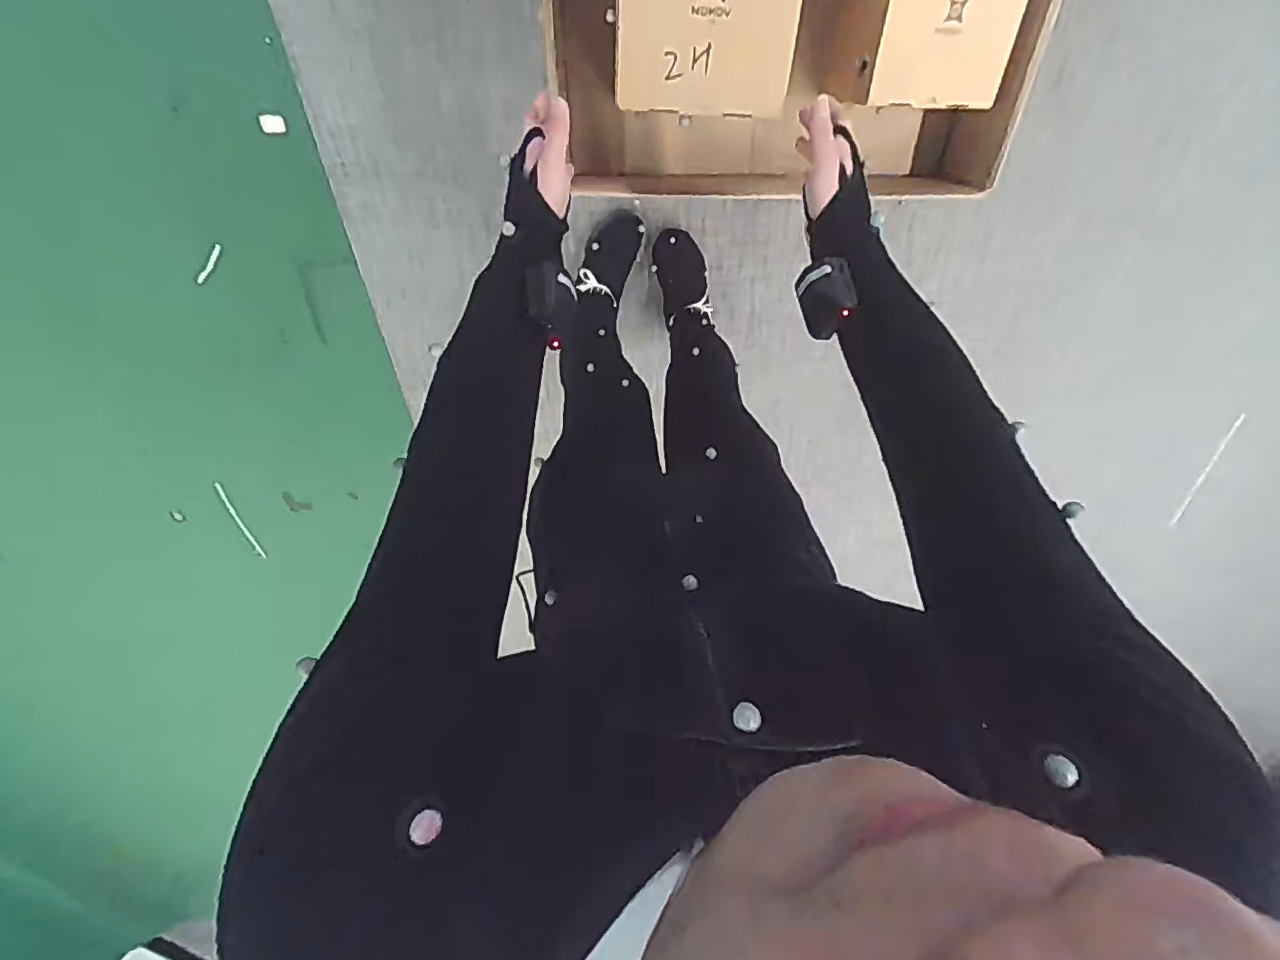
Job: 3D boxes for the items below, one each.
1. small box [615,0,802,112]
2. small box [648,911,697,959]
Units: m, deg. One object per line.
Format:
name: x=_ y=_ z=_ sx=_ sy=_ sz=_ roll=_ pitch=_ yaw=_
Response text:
small box: x=0.060 y=-0.478 z=0.537 sx=0.168 sy=0.176 sz=0.179 roll=1 pitch=127 yaw=-3
small box: x=0.118 y=1.676 z=1.939 sx=0.168 sy=0.176 sz=0.179 roll=-6 pitch=125 yaw=1
